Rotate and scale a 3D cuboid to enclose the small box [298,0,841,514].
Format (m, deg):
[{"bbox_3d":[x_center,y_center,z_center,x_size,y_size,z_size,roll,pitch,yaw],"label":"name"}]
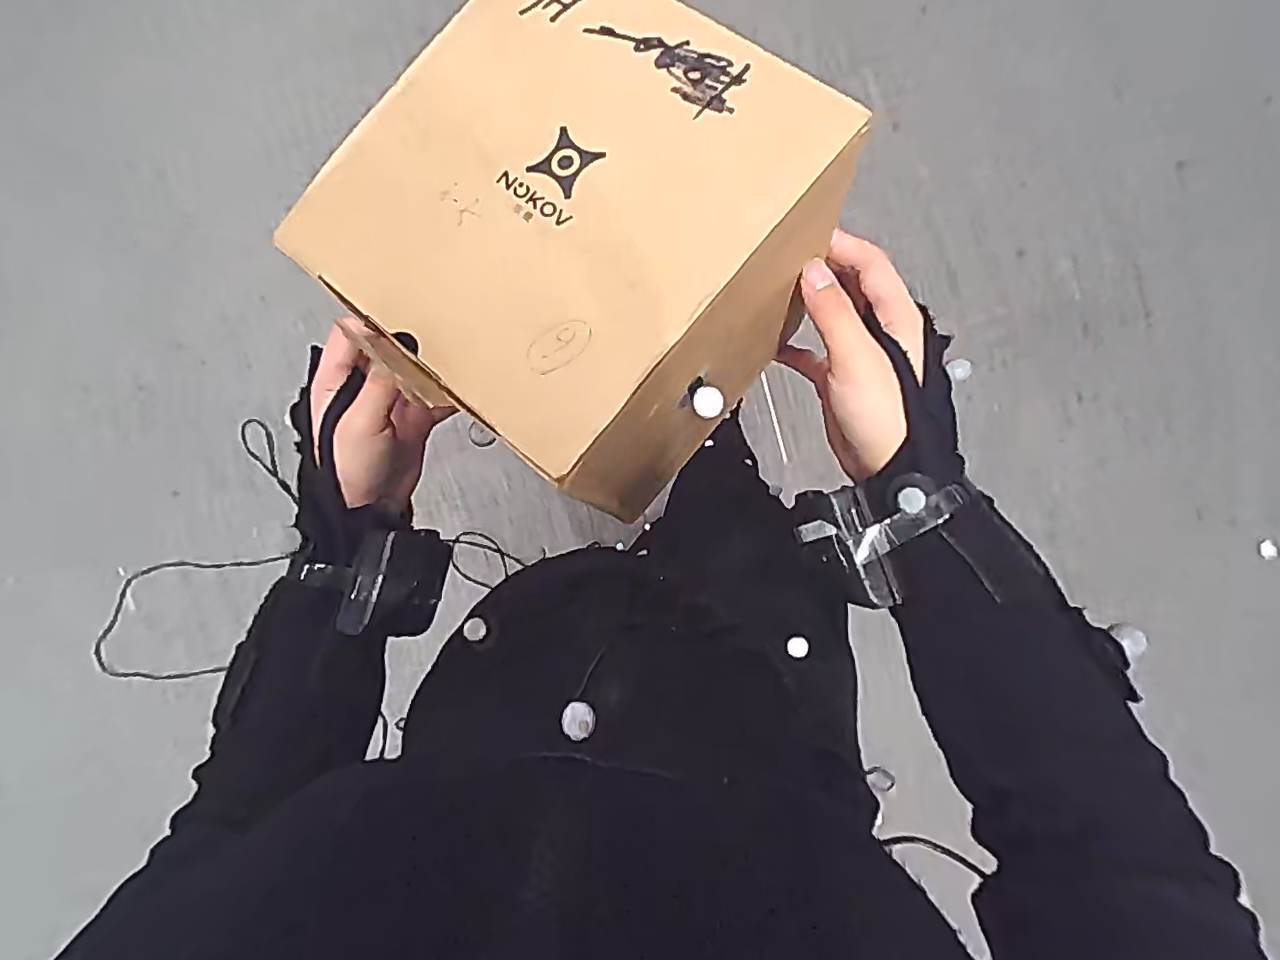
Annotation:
[{"bbox_3d":[-0.023,-0.098,0.297,0.168,0.176,0.179,39,88,12],"label":"small box"}]
